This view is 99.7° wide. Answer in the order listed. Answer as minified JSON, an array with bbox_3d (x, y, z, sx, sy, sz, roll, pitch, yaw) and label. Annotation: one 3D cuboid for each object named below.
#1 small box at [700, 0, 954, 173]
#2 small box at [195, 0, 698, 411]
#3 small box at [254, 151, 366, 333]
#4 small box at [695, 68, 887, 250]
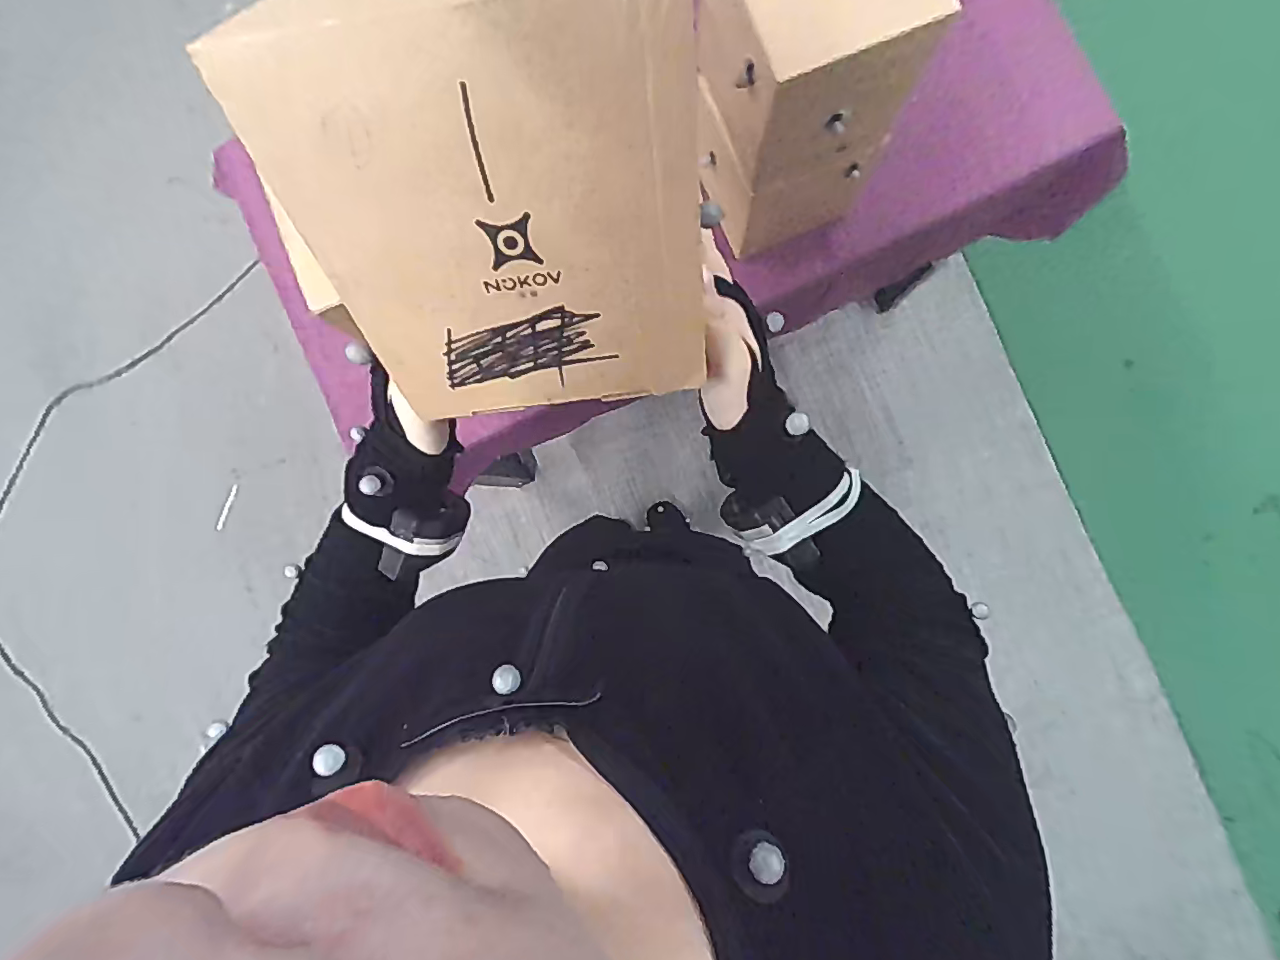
[{"bbox_3d":[0.166,-0.445,0.540,0.168,0.176,0.179,-20,86,2],"label":"small box"},{"bbox_3d":[-0.058,-0.162,0.286,0.168,0.179,0.176,-5,51,5],"label":"small box"},{"bbox_3d":[-0.243,-0.257,0.563,0.168,0.176,0.179,-22,86,3],"label":"small box"},{"bbox_3d":[0.180,-0.433,0.704,0.179,0.176,0.168,-22,86,2],"label":"small box"}]
